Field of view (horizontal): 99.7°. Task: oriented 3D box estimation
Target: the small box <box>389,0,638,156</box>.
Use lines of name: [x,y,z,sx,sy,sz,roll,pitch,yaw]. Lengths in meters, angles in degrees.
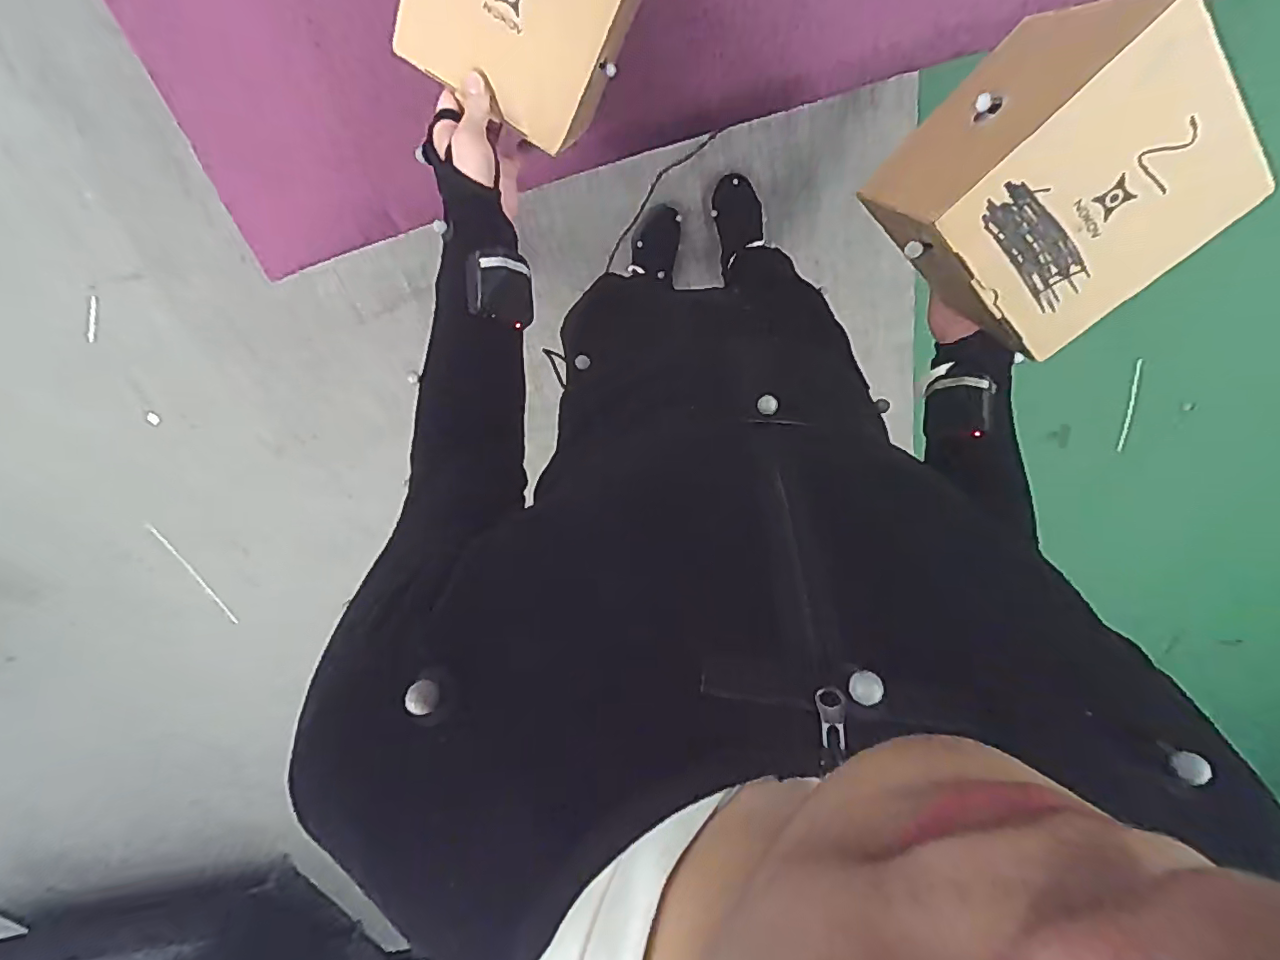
small box: [-0.104,-0.454,0.512,0.168,0.176,0.179,27,129,-16]
